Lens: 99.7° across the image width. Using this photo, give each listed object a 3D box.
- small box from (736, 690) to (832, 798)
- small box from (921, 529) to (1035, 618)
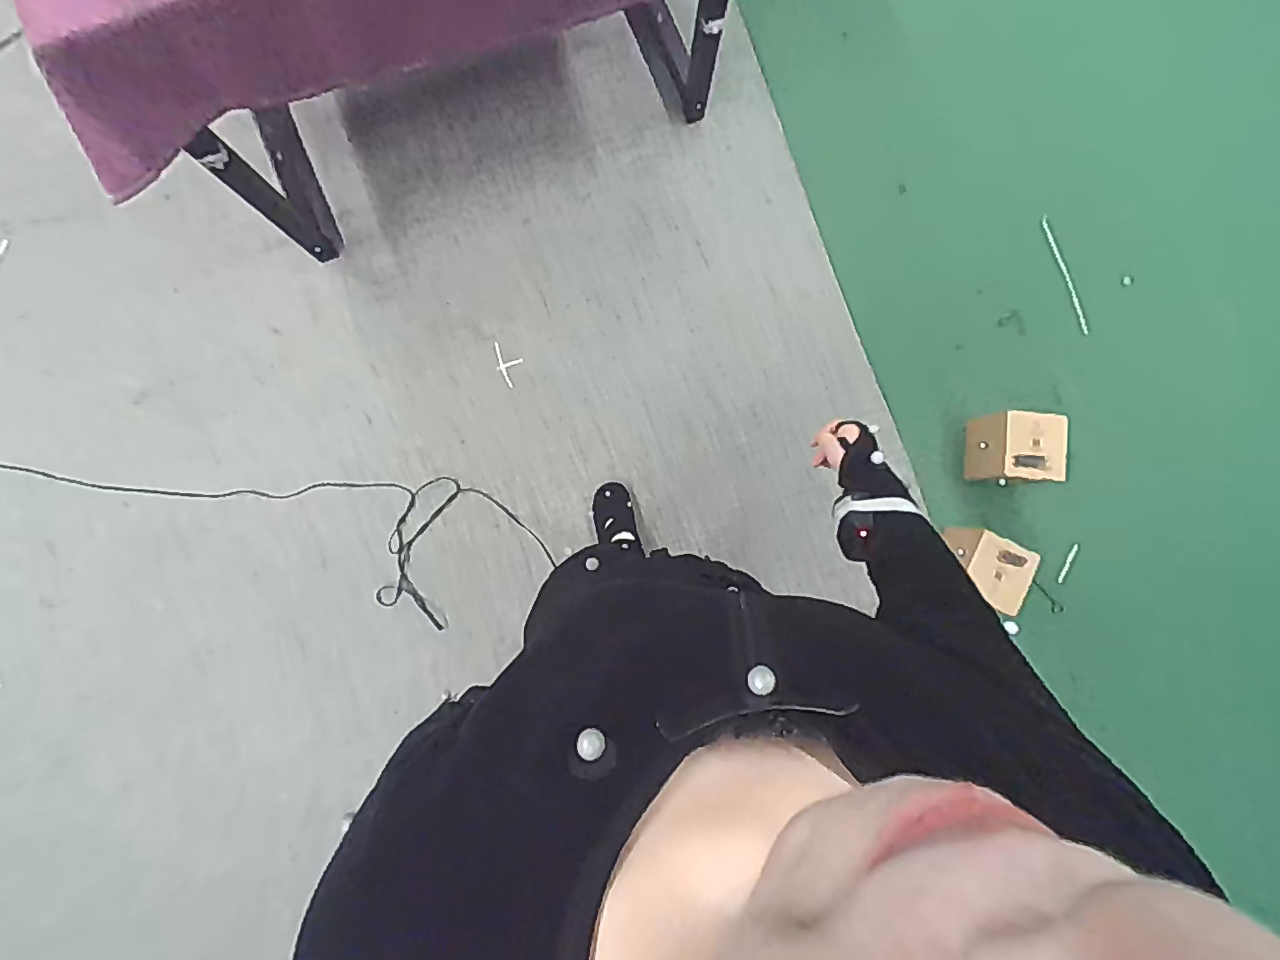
[{"bbox_3d":[0.363,0.679,1.409,0.179,0.176,0.168,-21,89,-3],"label":"small box"},{"bbox_3d":[0.900,0.242,1.458,0.168,0.176,0.179,26,87,-1],"label":"small box"}]
